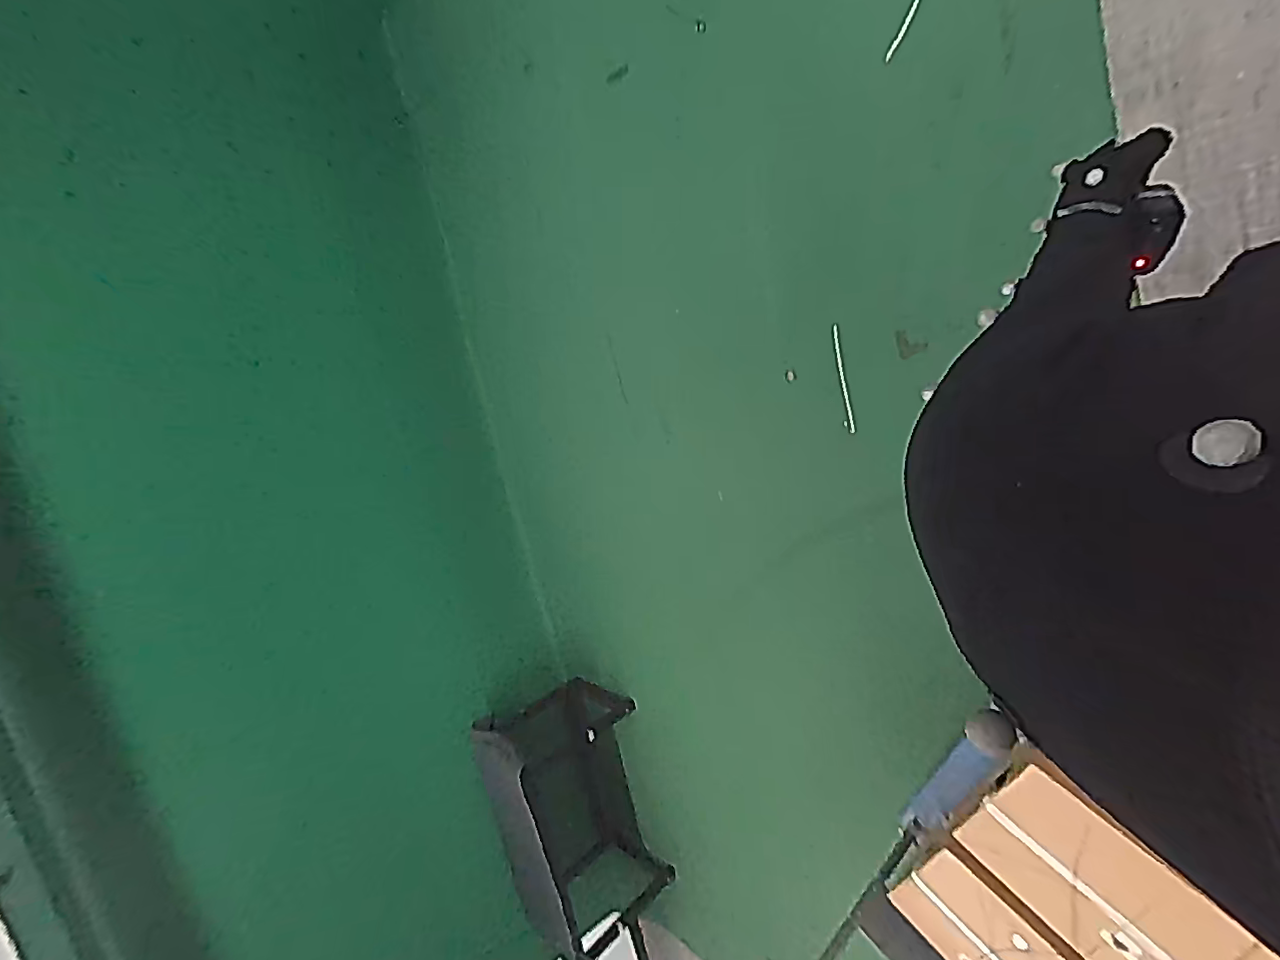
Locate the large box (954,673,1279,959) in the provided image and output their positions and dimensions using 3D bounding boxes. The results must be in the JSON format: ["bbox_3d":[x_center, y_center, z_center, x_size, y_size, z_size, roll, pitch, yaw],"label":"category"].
[{"bbox_3d":[0.940,0.678,1.069,0.408,0.320,0.320,39,134,34],"label":"large box"}]
